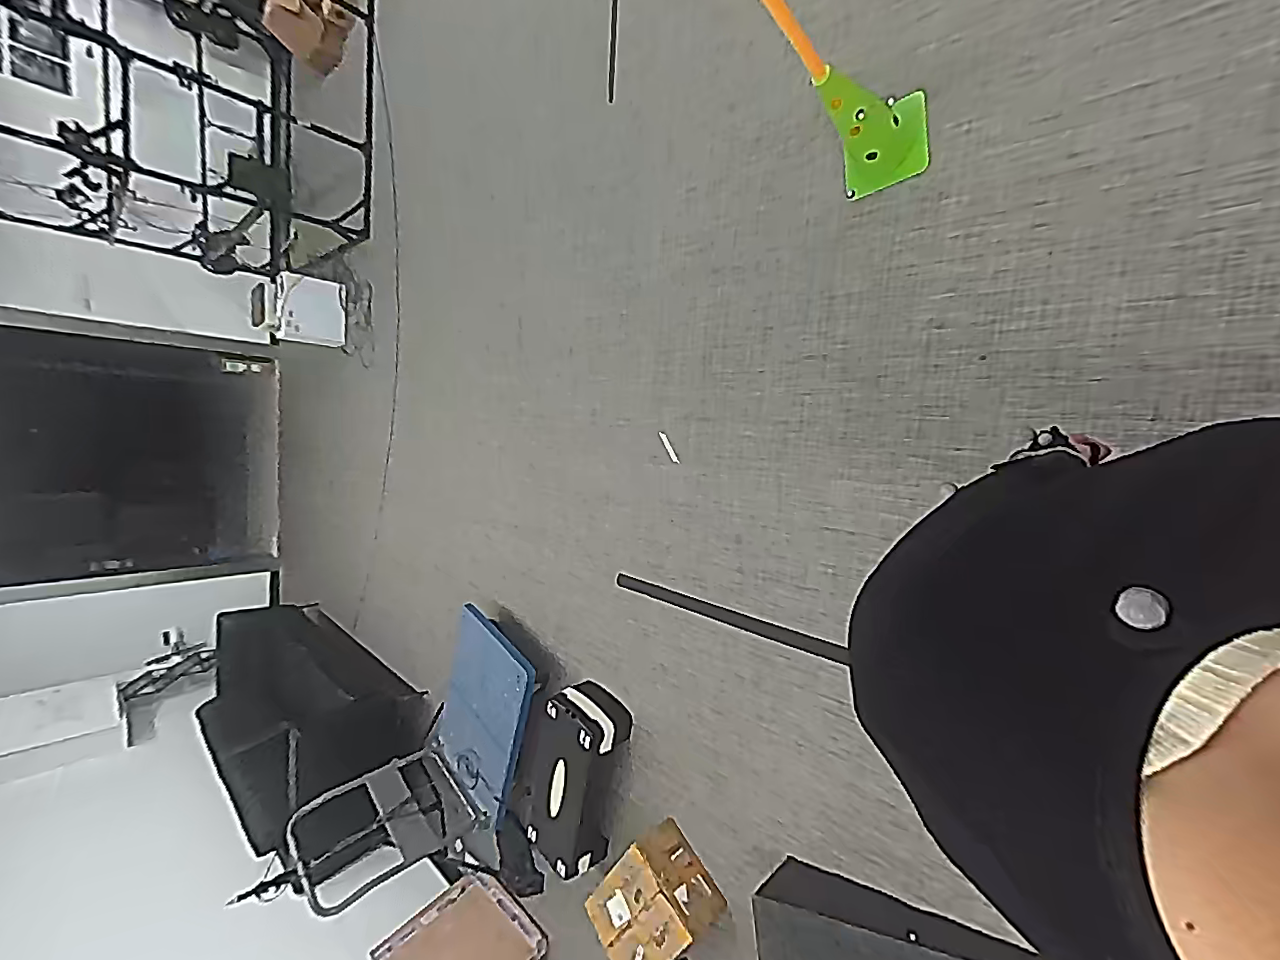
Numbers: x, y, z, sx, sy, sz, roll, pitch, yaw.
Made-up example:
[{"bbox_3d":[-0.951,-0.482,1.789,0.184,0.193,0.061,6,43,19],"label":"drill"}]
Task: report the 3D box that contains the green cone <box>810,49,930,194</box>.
[{"bbox_3d":[0.491,-0.845,1.222,0.200,0.368,0.202,-5,85,44],"label":"green cone"}]
